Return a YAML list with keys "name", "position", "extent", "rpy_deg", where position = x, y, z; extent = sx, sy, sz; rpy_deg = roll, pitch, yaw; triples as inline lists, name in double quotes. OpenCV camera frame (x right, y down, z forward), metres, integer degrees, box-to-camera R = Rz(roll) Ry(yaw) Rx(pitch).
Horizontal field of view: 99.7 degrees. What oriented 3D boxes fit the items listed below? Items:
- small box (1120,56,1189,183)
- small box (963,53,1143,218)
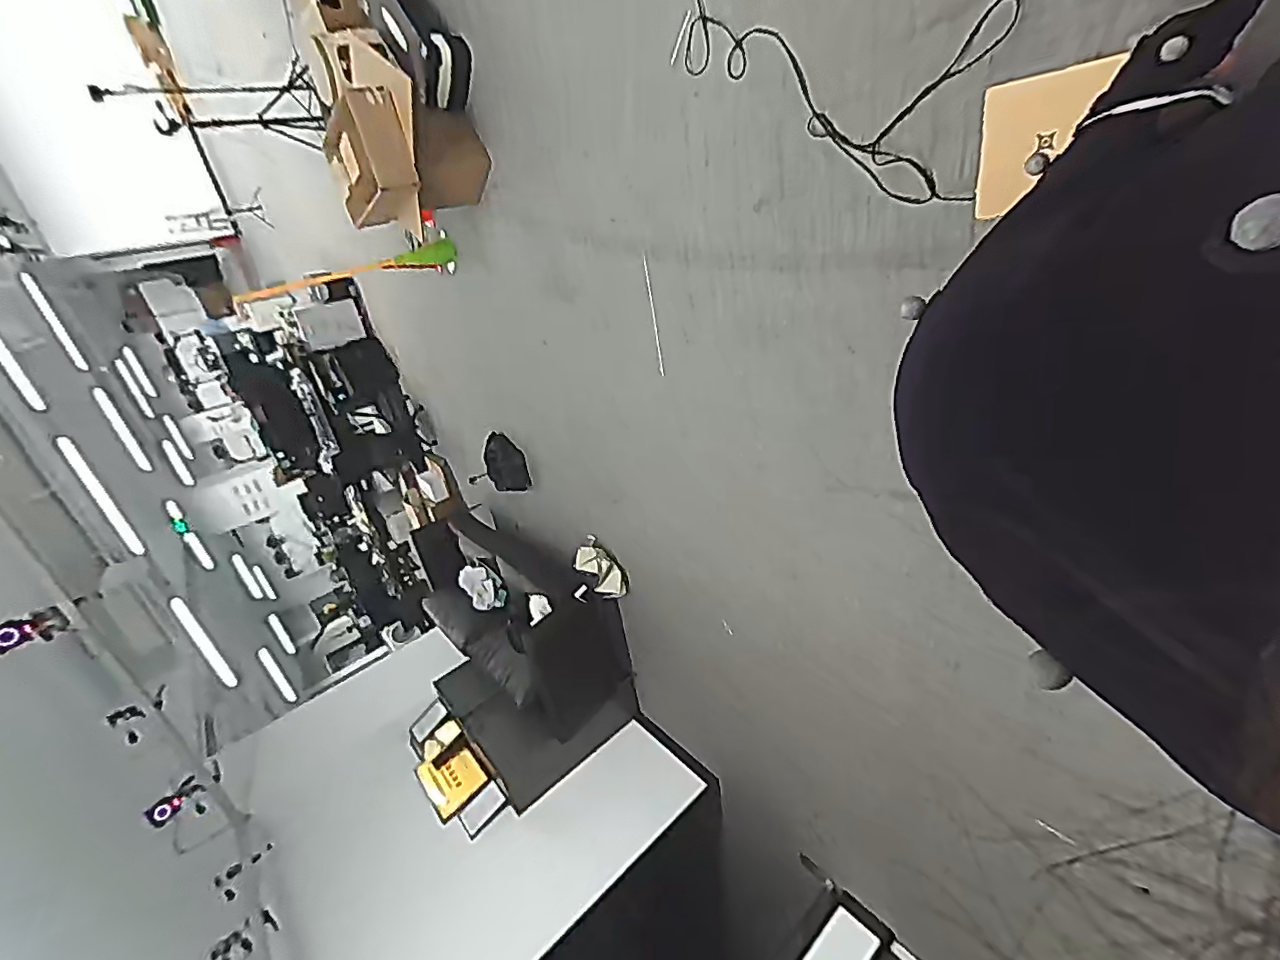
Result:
- name: "small box"
  position: [0.851, -0.643, 0.982]
  extent: [0.168, 0.176, 0.179]
  rpy_deg: [24, 133, 44]
- name: "small box"
  position: [0.611, -0.506, 0.805]
  extent: [0.168, 0.176, 0.179]
  rpy_deg: [20, 132, 46]
